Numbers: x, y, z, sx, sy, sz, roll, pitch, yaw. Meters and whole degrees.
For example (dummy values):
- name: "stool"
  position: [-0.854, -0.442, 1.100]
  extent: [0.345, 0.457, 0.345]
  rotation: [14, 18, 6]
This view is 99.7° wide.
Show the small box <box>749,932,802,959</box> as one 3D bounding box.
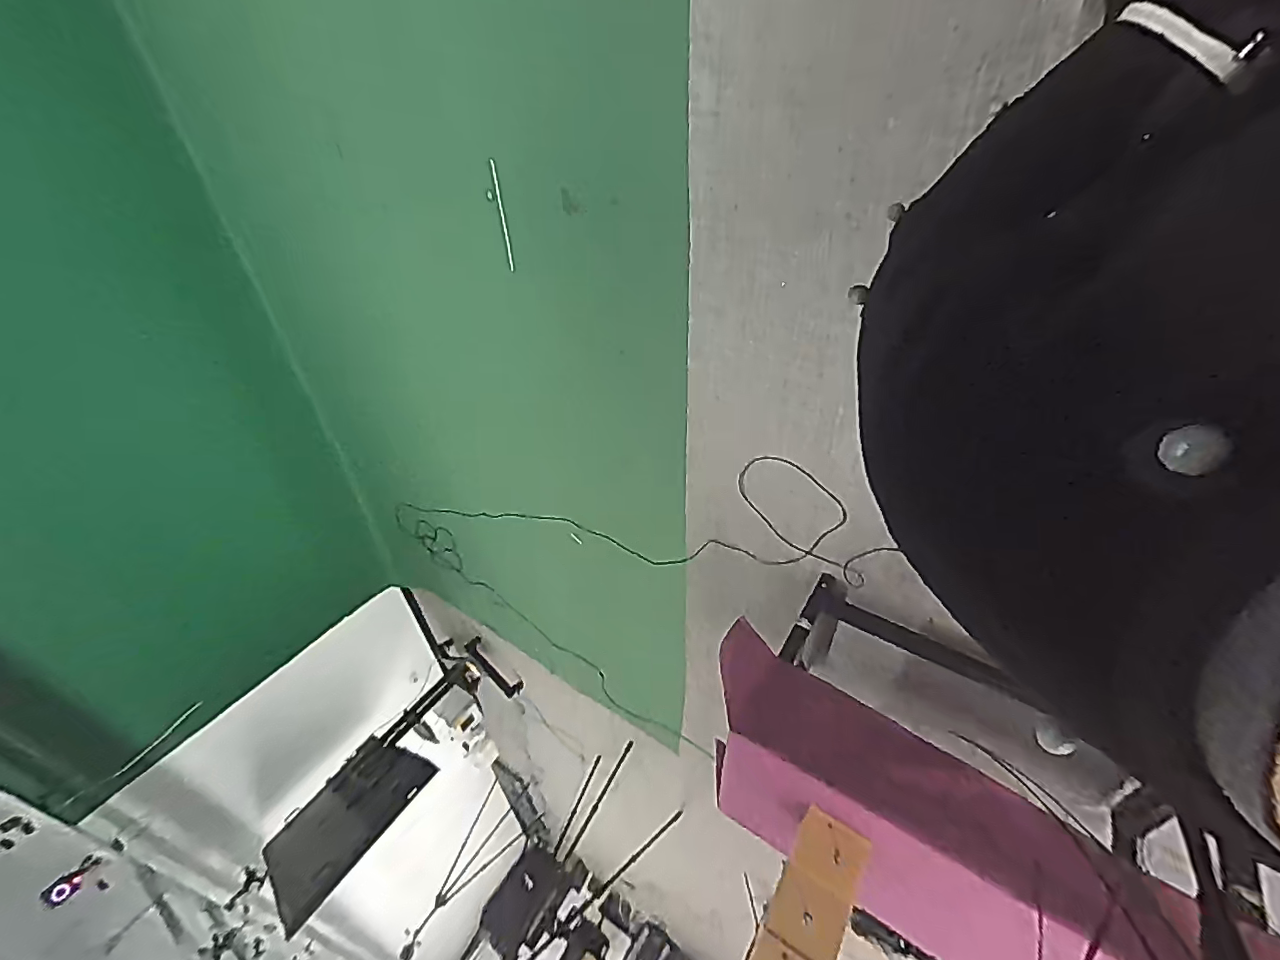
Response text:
- name: "small box"
  position: [0.322, 1.224, 1.275]
  extent: [0.168, 0.176, 0.179]
  rotation: [22, 135, 25]

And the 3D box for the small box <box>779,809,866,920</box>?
- name: "small box"
  position: [0.504, 1.049, 1.486]
  extent: [0.168, 0.176, 0.179]
  rotation: [23, 136, 25]
